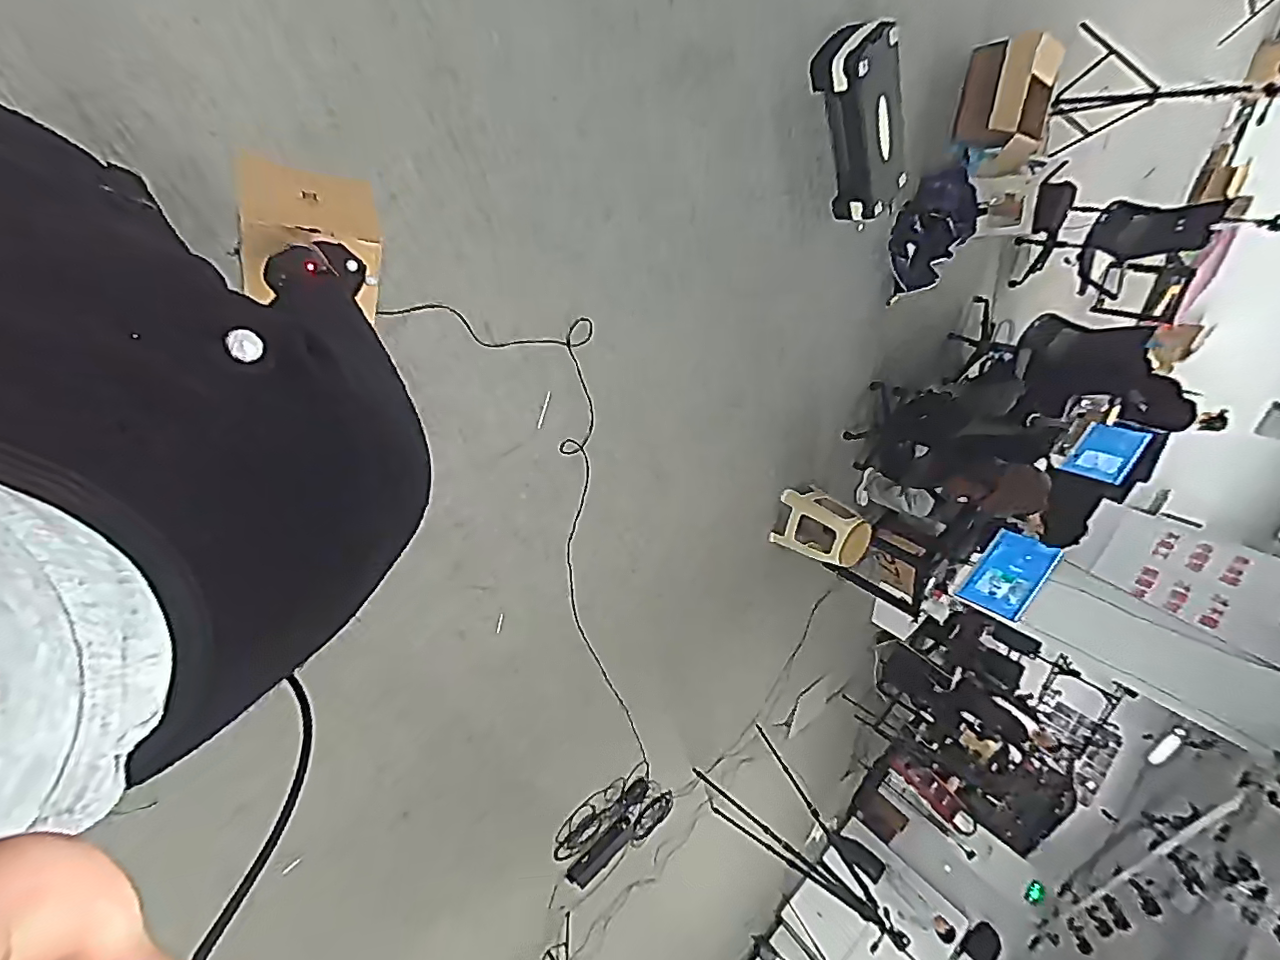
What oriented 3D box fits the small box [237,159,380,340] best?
[{"bbox_3d":[-0.492,-0.331,0.804,0.168,0.179,0.176,-1,141,-35],"label":"small box"}]
